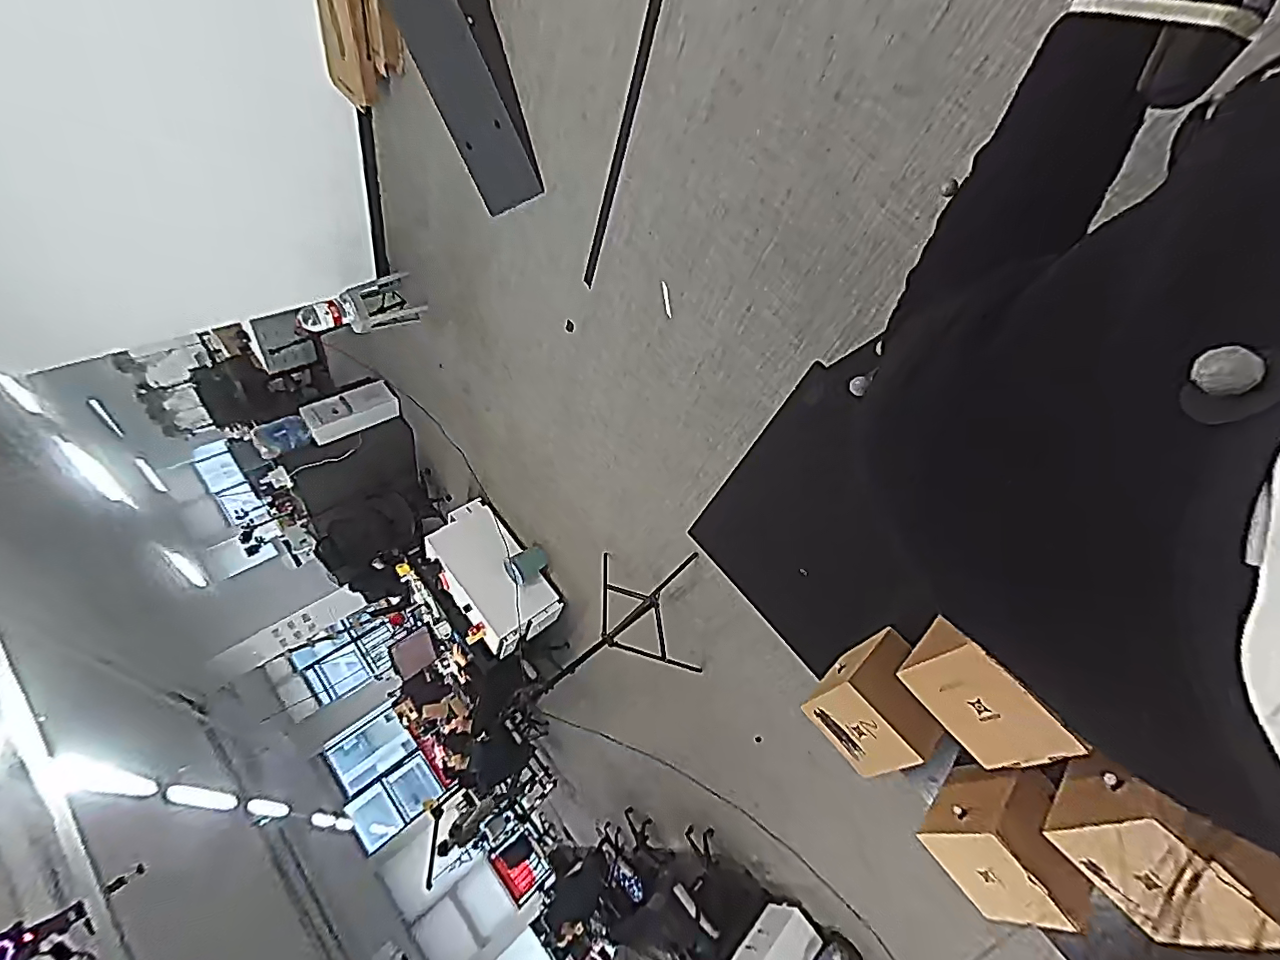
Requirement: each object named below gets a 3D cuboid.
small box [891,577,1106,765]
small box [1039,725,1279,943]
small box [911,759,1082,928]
[{"bbox_3d":[0.522,0.276,0.791,0.179,0.176,0.168,49,145,17],"label":"small box"},{"bbox_3d":[0.687,0.457,0.714,0.168,0.176,0.179,45,144,21],"label":"small box"},{"bbox_3d":[0.619,0.609,0.927,0.168,0.176,0.179,49,145,15],"label":"small box"}]
